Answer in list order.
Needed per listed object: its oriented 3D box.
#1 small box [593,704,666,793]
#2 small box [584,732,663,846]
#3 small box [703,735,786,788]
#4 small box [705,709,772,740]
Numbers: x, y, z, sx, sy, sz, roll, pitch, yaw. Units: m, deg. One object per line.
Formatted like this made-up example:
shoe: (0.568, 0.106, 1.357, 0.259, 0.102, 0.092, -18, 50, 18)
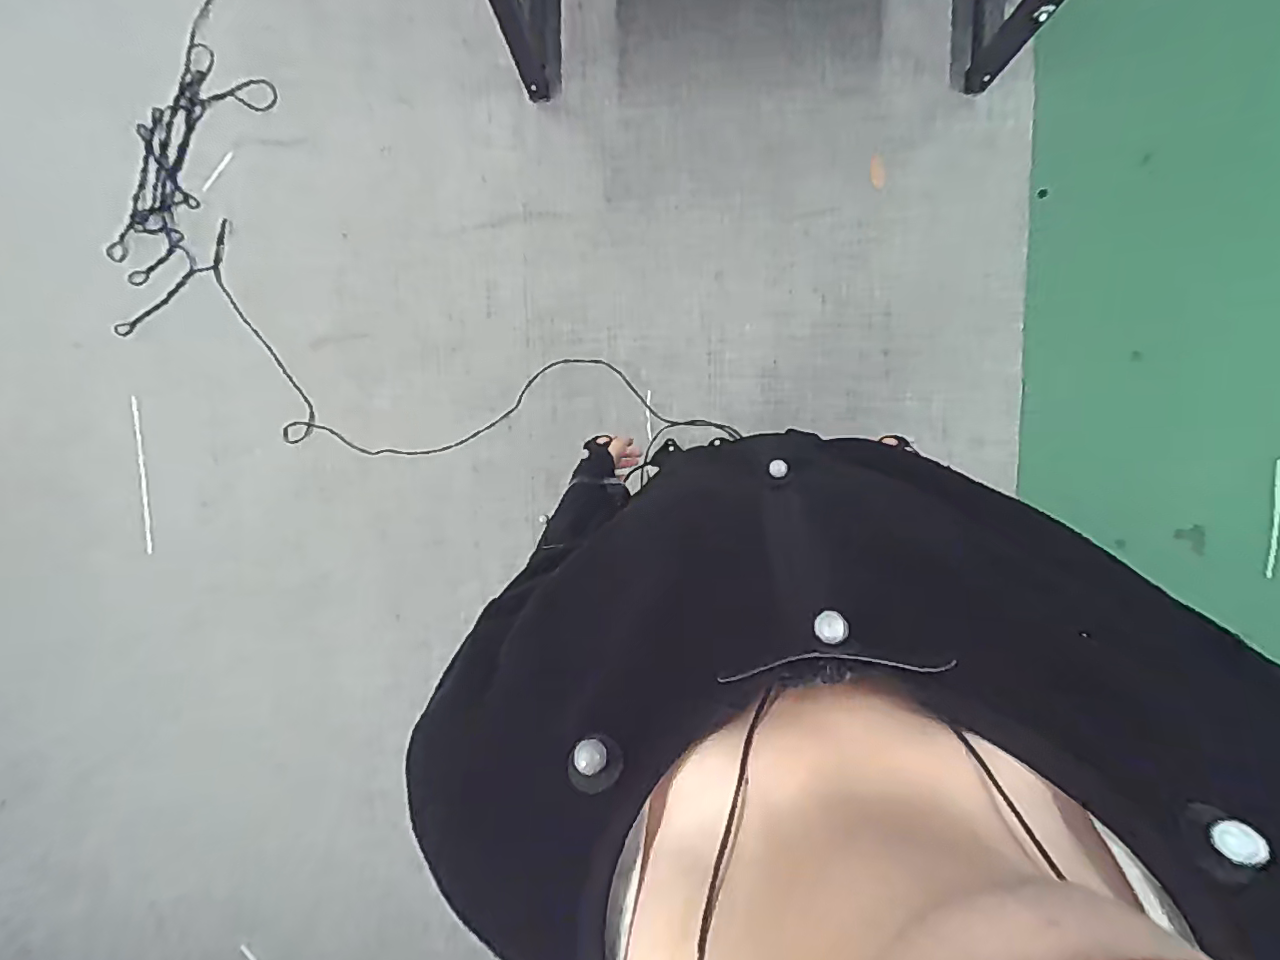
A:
small box: (-0.023, 0.717, 1.449, 0.179, 0.176, 0.168, -4, 92, 4)
small box: (-0.034, 0.729, 1.285, 0.168, 0.176, 0.179, -5, 93, 4)
small box: (0.241, 0.713, 1.257, 0.179, 0.176, 0.168, -4, 91, 7)
small box: (0.259, 0.717, 1.419, 0.168, 0.176, 0.179, -5, 93, 7)
